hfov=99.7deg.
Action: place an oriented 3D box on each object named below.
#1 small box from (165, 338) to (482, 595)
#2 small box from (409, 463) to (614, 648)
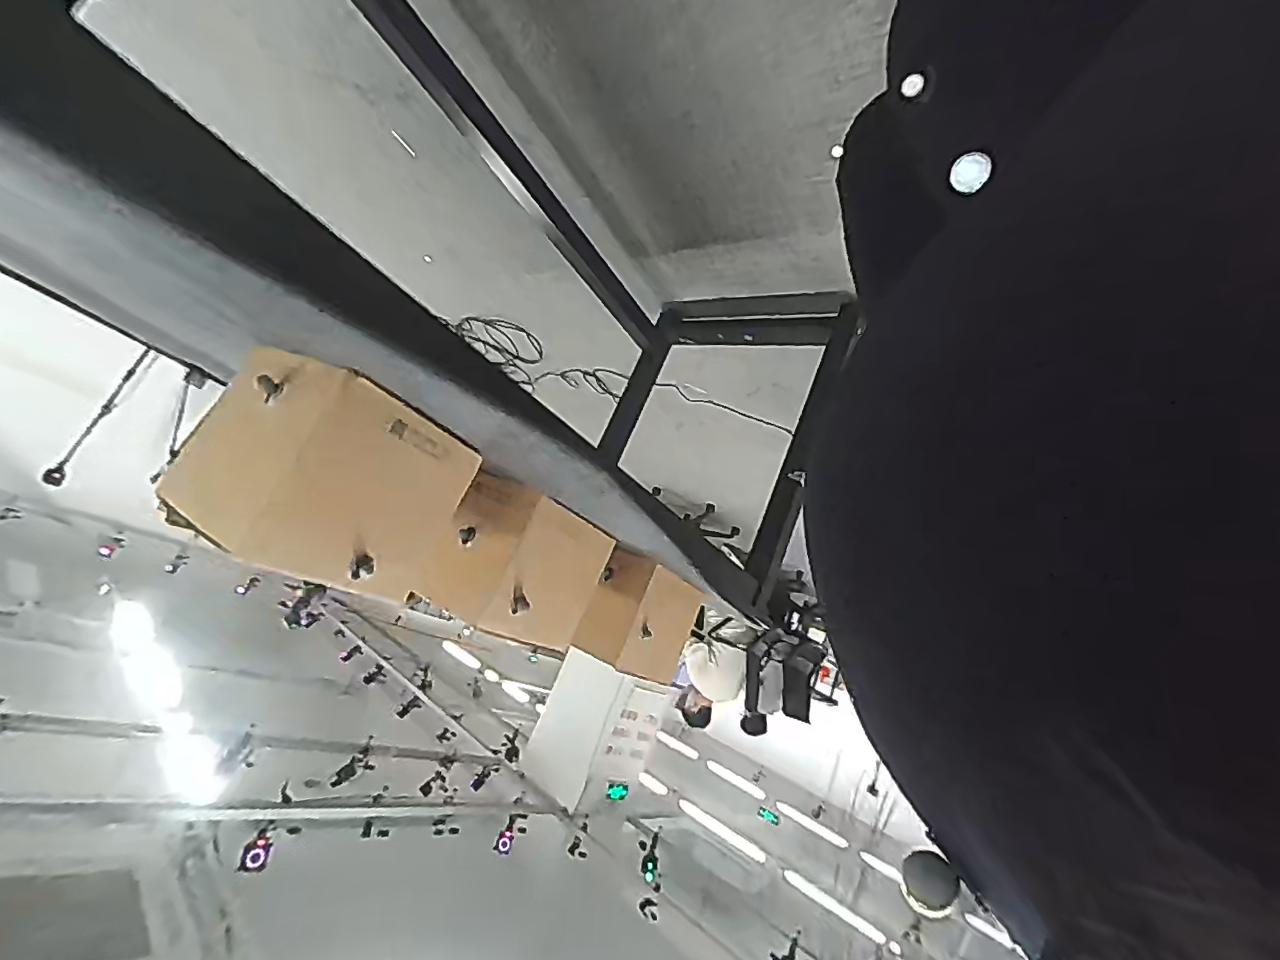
[{"bbox_3d":[-0.291,-0.015,0.522,0.179,0.176,0.168,19,165,32],"label":"small box"},{"bbox_3d":[-0.165,0.096,0.710,0.168,0.176,0.179,17,165,35],"label":"small box"}]
